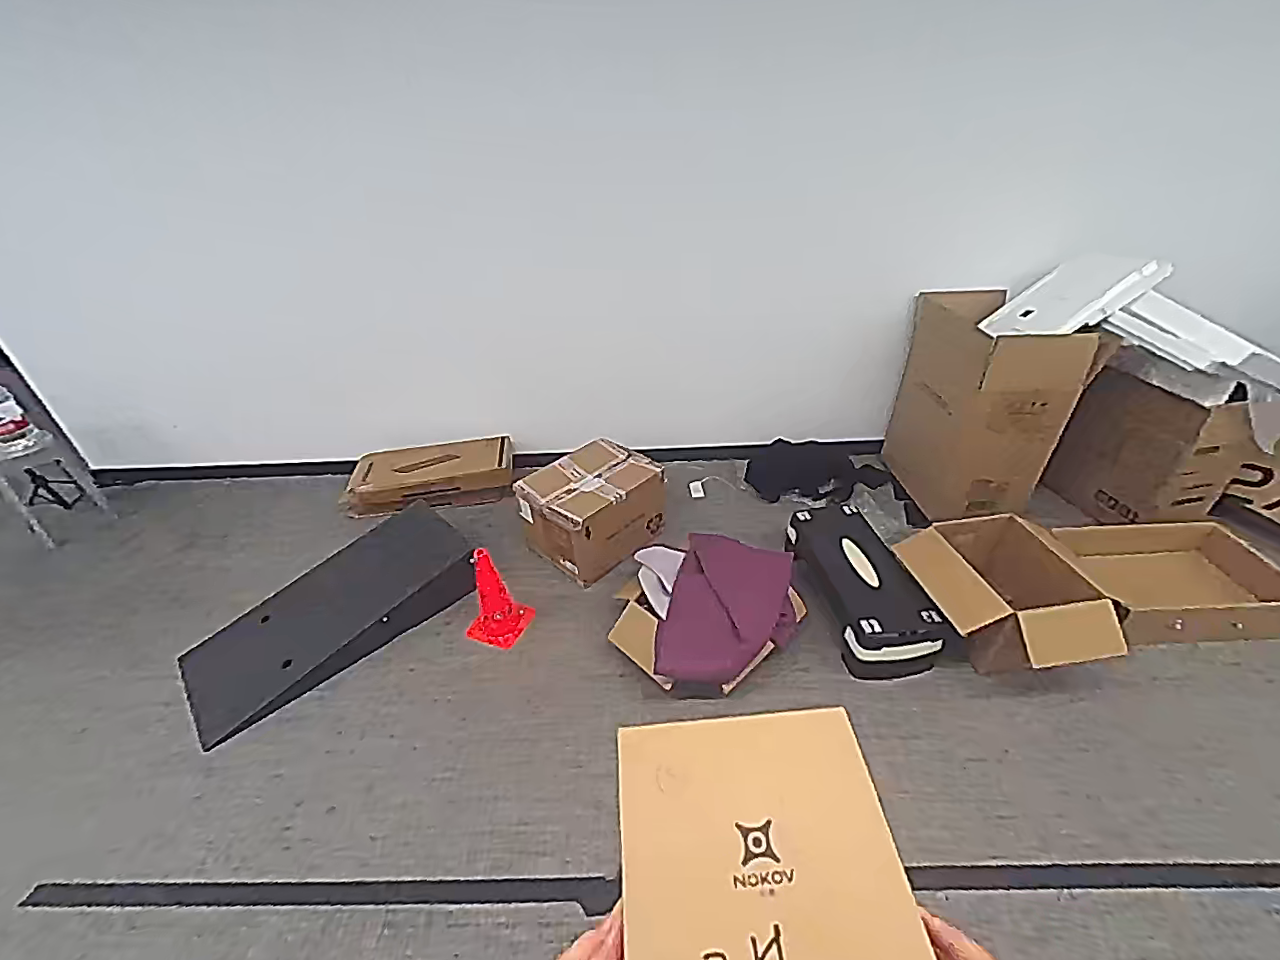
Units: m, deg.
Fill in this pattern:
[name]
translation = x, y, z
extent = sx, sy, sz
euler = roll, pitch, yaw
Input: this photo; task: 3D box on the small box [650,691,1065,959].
[small box]
translation = 0.095, 0.244, 0.295
extent = 0.168, 0.176, 0.179
euler = -6, 40, 0
